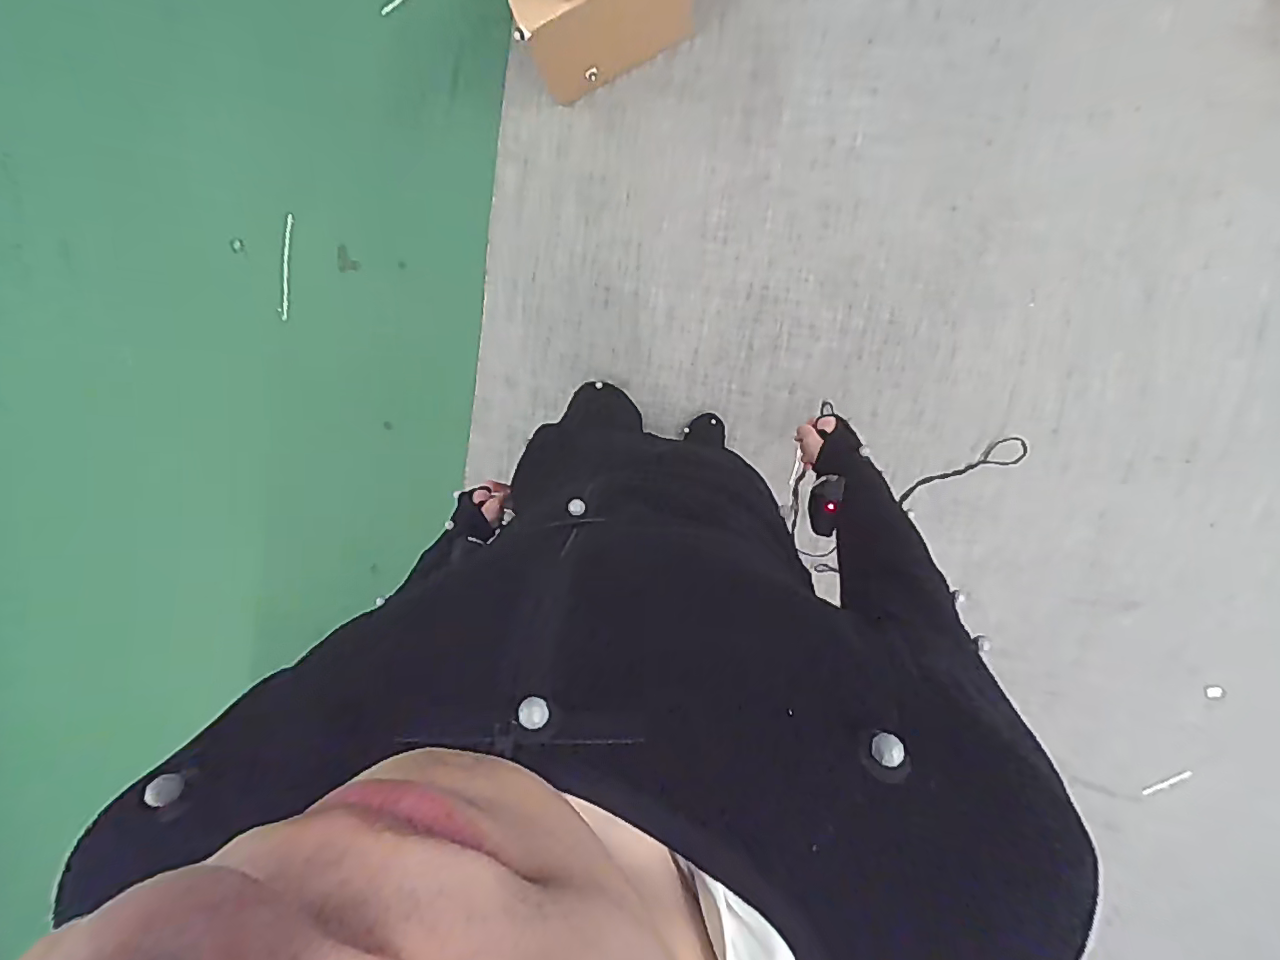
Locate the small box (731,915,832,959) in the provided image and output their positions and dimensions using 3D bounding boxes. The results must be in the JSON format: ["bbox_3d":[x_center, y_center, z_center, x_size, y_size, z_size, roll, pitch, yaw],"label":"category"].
[{"bbox_3d":[0.243,0.910,0.926,0.168,0.176,0.179,9,103,7],"label":"small box"}]
